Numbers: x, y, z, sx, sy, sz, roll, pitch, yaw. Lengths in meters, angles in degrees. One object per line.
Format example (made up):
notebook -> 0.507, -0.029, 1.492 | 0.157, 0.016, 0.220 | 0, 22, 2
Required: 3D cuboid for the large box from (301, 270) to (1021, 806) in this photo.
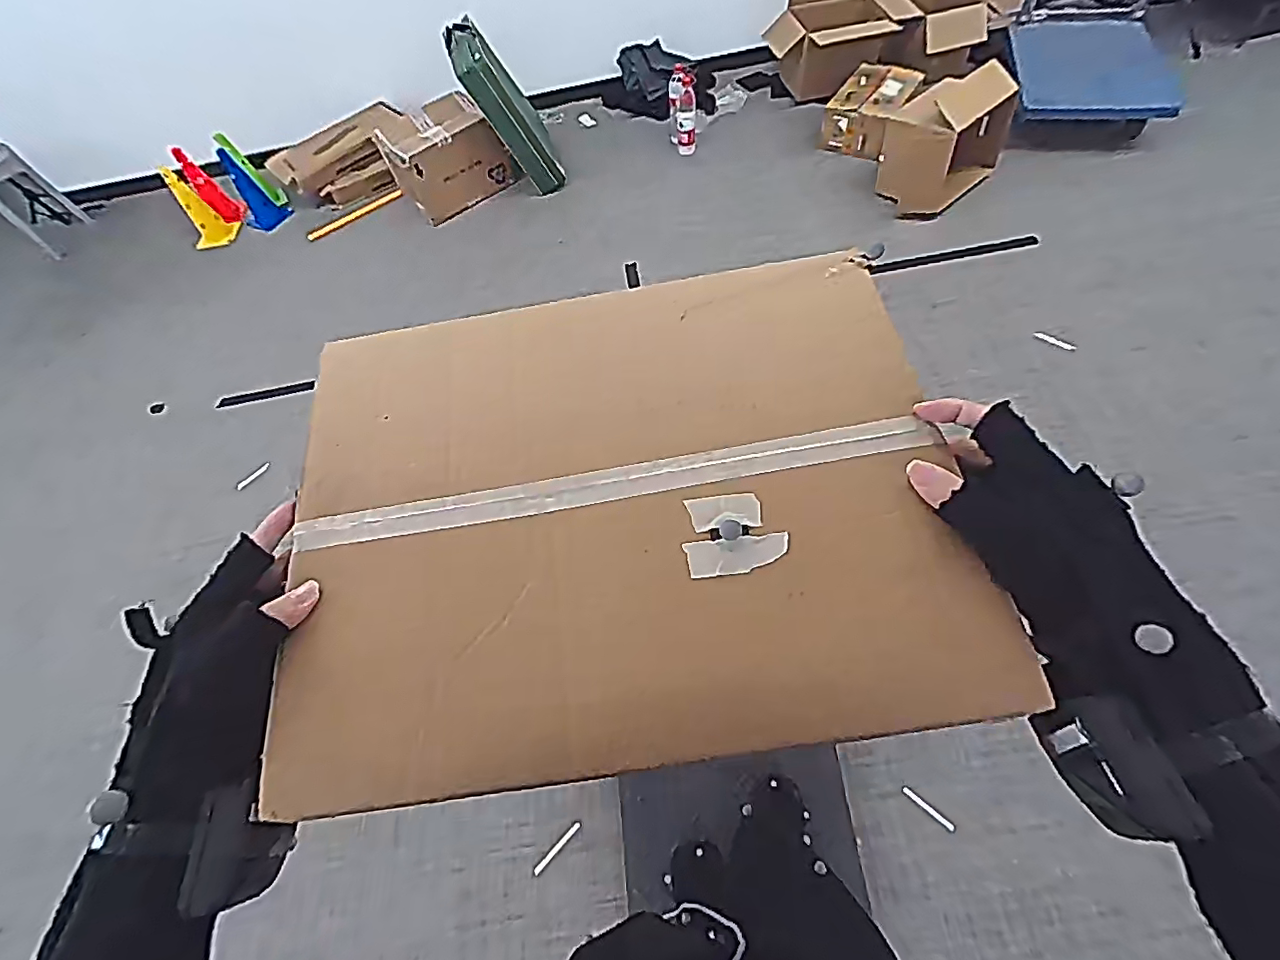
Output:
large box -> 0.000, 0.070, 0.487 | 0.408, 0.320, 0.320 | -9, 65, 1
